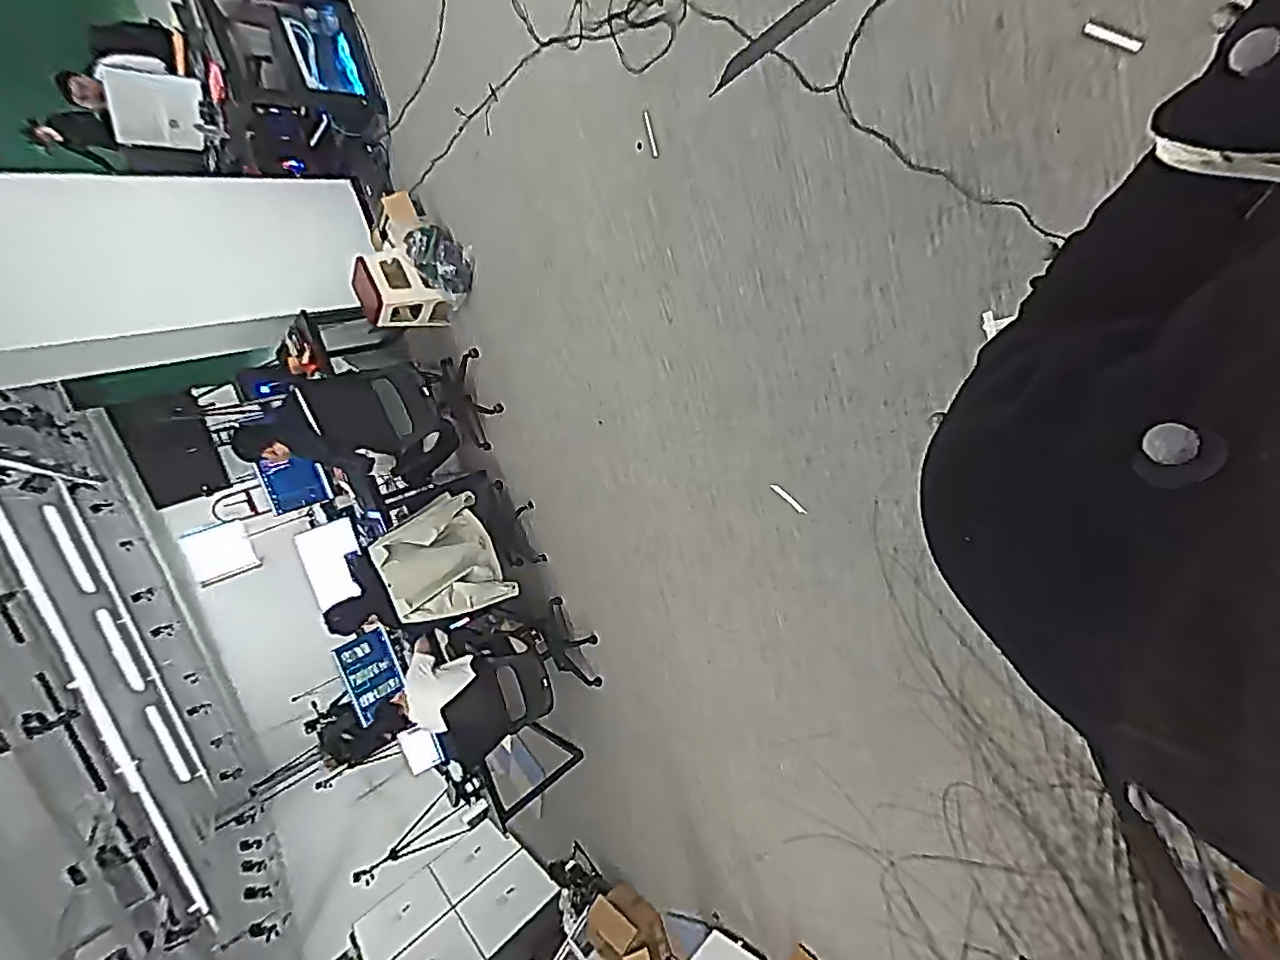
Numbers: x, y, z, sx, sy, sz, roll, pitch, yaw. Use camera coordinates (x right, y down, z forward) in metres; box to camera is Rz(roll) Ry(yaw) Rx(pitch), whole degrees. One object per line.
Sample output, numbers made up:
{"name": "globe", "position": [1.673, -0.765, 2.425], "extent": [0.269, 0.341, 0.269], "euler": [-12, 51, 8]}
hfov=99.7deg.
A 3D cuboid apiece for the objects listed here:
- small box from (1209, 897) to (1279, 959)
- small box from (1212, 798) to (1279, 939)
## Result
{"name": "small box", "position": [0.690, 0.572, 0.537], "extent": [0.179, 0.176, 0.168], "euler": [3, 110, 49]}
{"name": "small box", "position": [0.808, 0.518, 0.634], "extent": [0.179, 0.176, 0.168], "euler": [2, 111, 50]}
